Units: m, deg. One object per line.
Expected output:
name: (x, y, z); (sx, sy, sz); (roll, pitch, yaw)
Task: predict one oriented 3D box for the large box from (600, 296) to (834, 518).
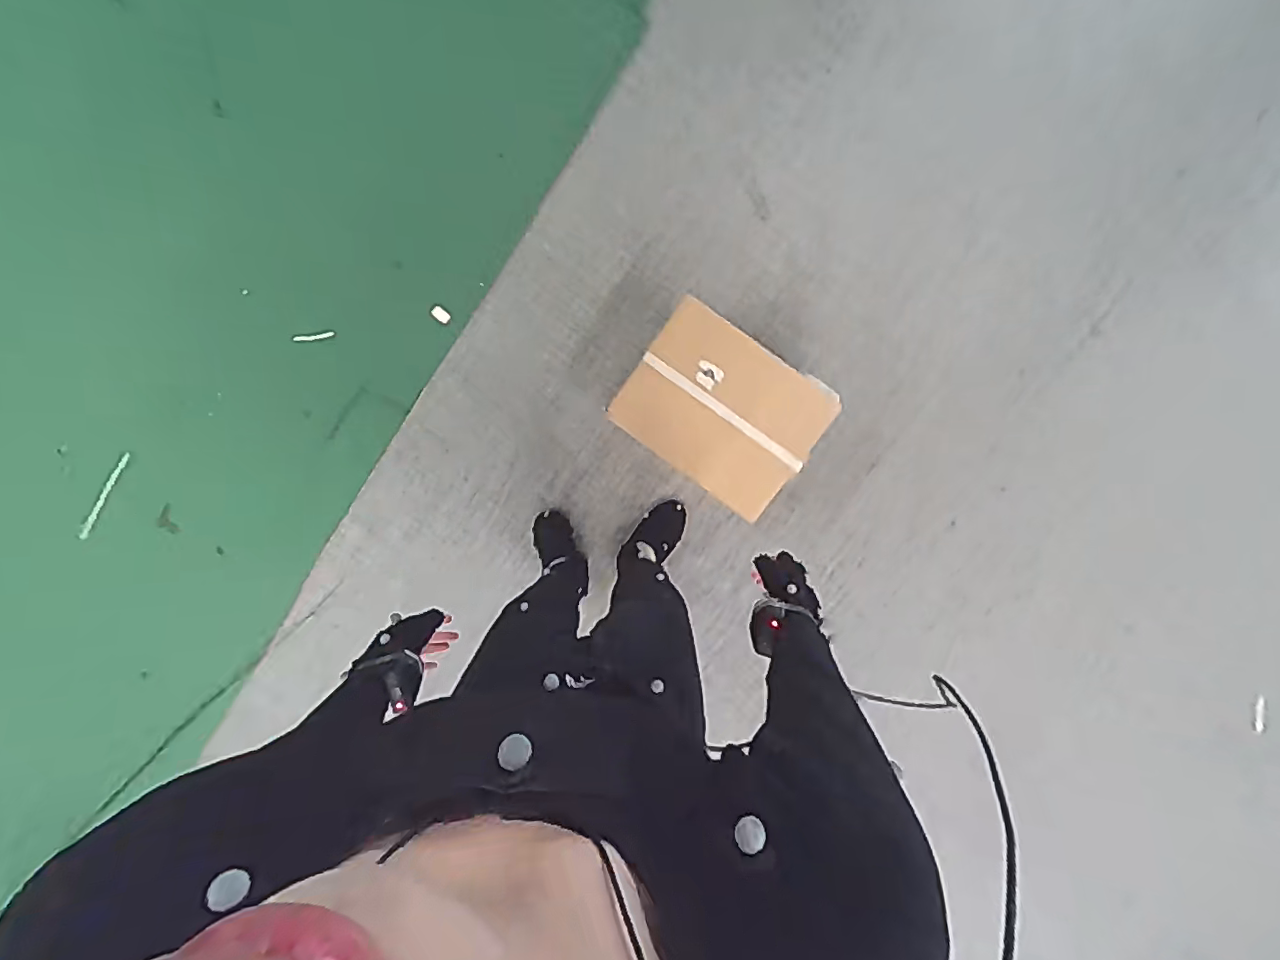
large box: (0.175, -0.165, 1.291); (0.408, 0.320, 0.320); (37, 97, 1)
